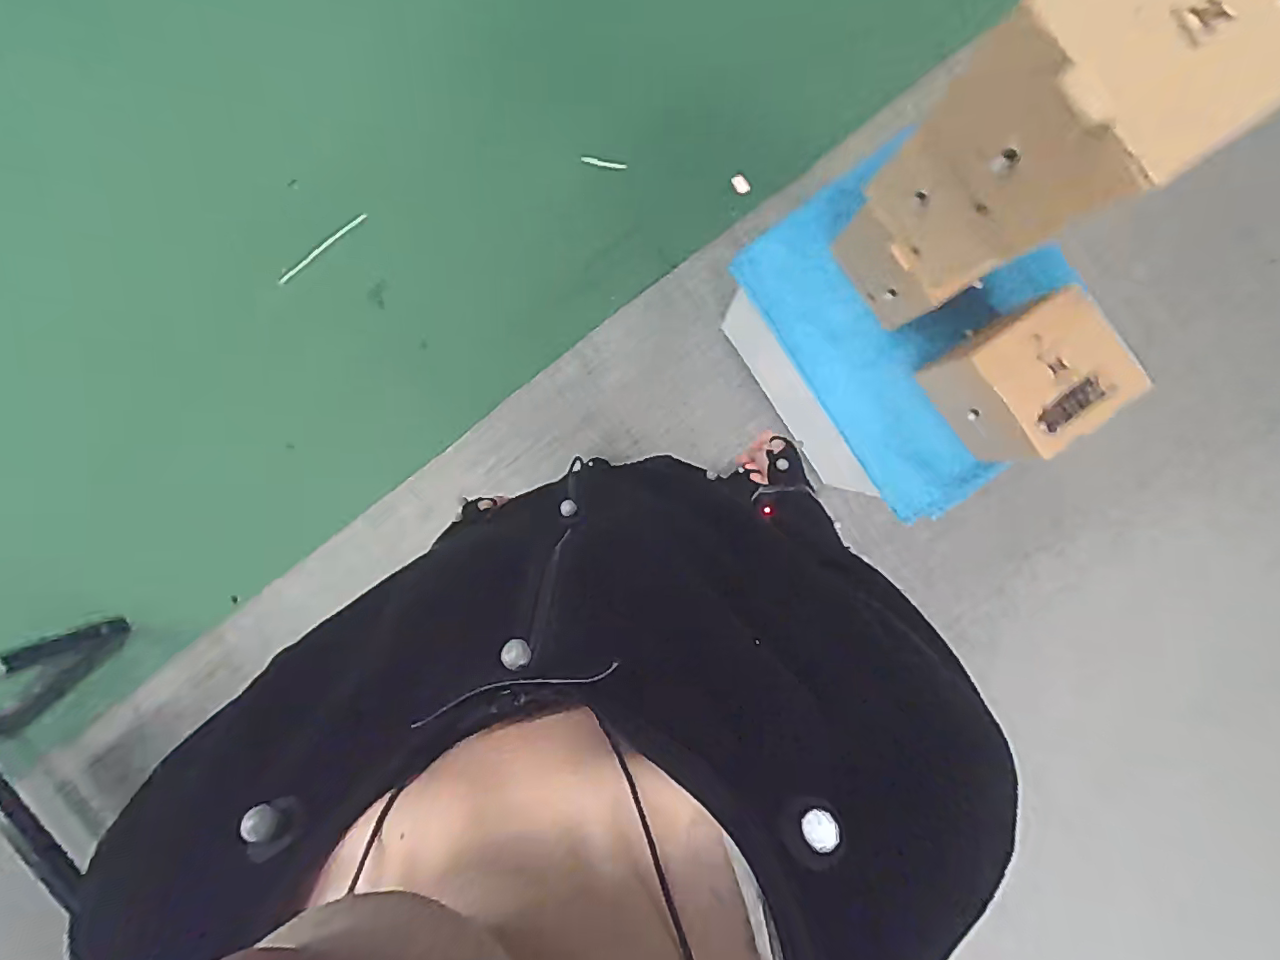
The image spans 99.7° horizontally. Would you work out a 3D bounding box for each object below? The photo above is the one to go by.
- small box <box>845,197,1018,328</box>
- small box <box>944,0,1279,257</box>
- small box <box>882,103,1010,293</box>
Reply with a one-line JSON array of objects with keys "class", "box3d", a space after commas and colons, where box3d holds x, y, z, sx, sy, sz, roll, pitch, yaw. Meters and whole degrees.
[{"class": "small box", "box3d": [0.421, -0.344, 0.778, 0.179, 0.176, 0.168, -34, 93, 4]}, {"class": "small box", "box3d": [0.394, -0.322, 0.454, 0.179, 0.176, 0.168, -32, 92, 4]}, {"class": "small box", "box3d": [0.407, -0.343, 0.617, 0.179, 0.176, 0.168, -32, 92, 3]}]
